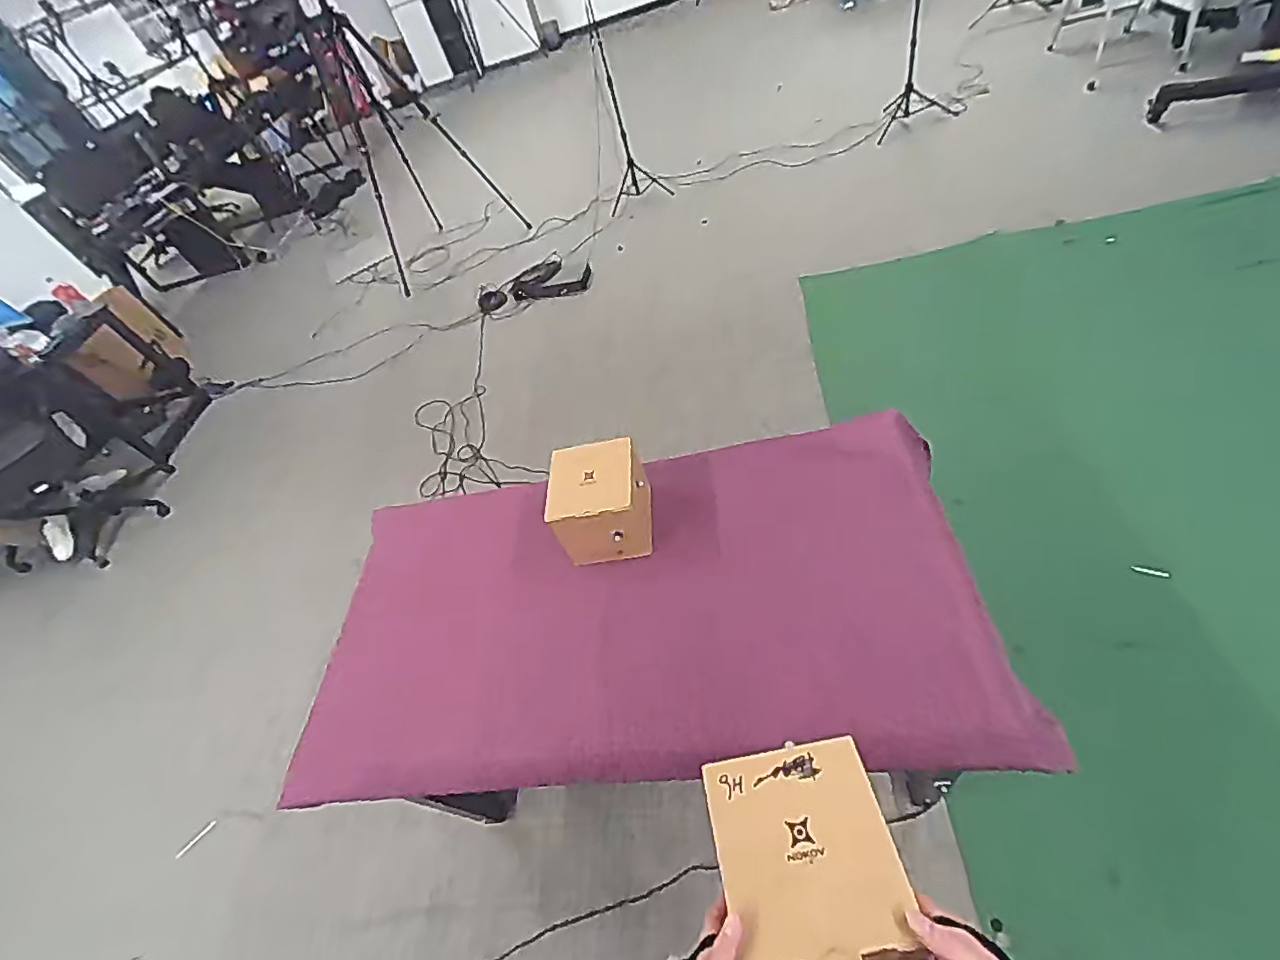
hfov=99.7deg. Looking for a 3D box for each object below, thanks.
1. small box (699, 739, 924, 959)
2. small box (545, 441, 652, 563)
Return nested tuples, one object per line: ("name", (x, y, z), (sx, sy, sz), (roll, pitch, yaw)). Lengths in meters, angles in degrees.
("small box", (0.169, 0.405, 0.568), (0.168, 0.176, 0.179), (-14, 42, 4))
("small box", (-0.074, 0.053, 1.078), (0.168, 0.176, 0.179), (-10, 49, 11))
